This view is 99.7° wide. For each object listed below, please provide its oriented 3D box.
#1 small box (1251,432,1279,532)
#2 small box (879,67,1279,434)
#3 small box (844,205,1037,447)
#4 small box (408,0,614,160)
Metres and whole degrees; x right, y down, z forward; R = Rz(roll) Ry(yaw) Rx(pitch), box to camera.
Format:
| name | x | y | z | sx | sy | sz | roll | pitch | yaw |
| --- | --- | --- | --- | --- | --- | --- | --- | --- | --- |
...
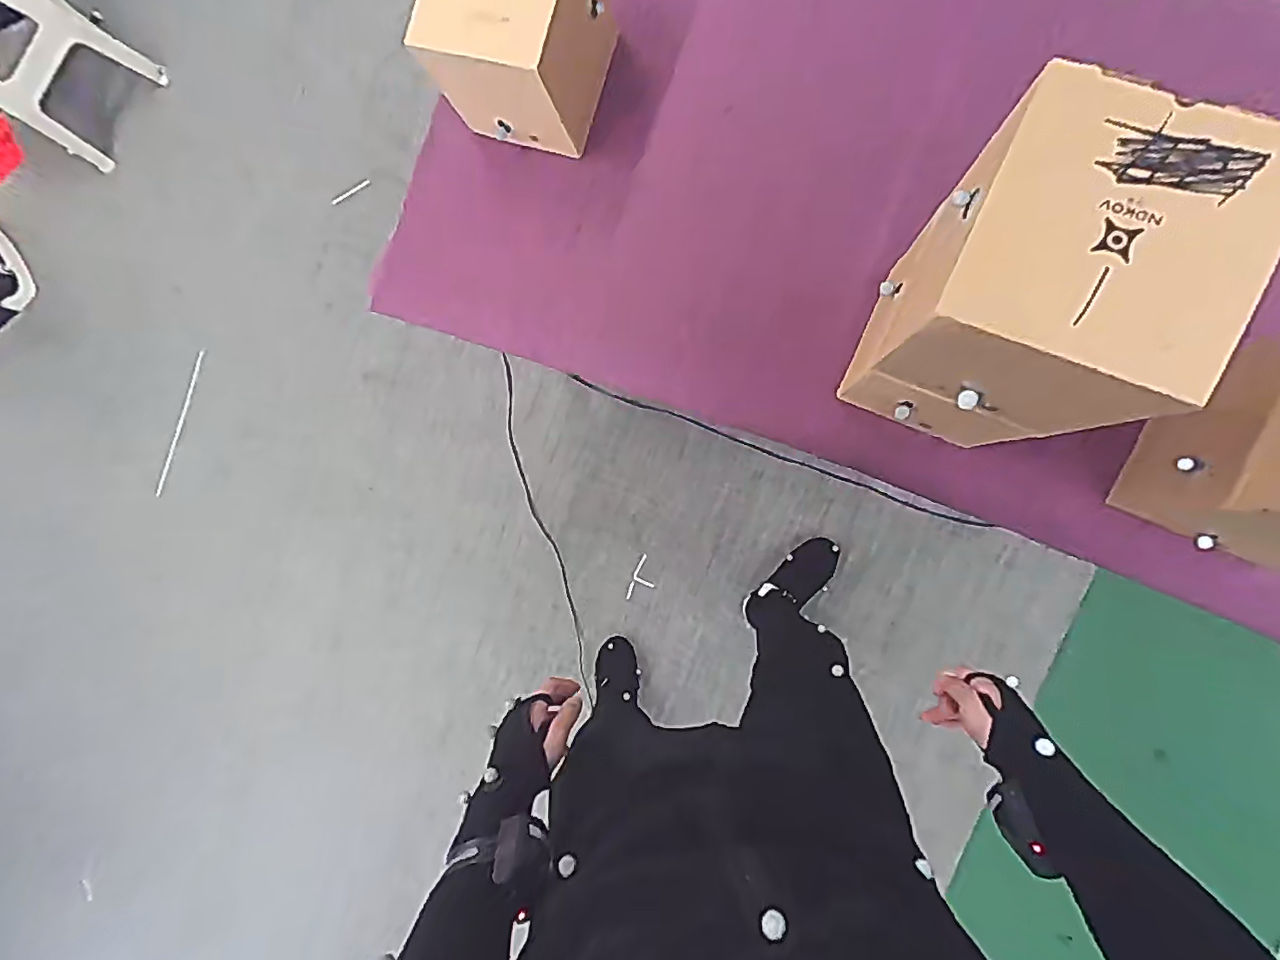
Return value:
| name | x | y | z | sx | sy | sz | roll | pitch | yaw |
| --- | --- | --- | --- | --- | --- | --- | --- | --- | --- |
| small box | 0.592 | -0.019 | 0.356 | 0.168 | 0.176 | 0.179 | 25 | 93 | 11 |
| small box | 0.308 | -0.149 | 0.412 | 0.168 | 0.176 | 0.179 | 25 | 94 | 10 |
| small box | 0.334 | -0.145 | 0.574 | 0.168 | 0.176 | 0.179 | 24 | 93 | 10 |
| small box | -0.142 | -0.537 | 0.660 | 0.168 | 0.176 | 0.179 | 19 | 94 | 10 |
